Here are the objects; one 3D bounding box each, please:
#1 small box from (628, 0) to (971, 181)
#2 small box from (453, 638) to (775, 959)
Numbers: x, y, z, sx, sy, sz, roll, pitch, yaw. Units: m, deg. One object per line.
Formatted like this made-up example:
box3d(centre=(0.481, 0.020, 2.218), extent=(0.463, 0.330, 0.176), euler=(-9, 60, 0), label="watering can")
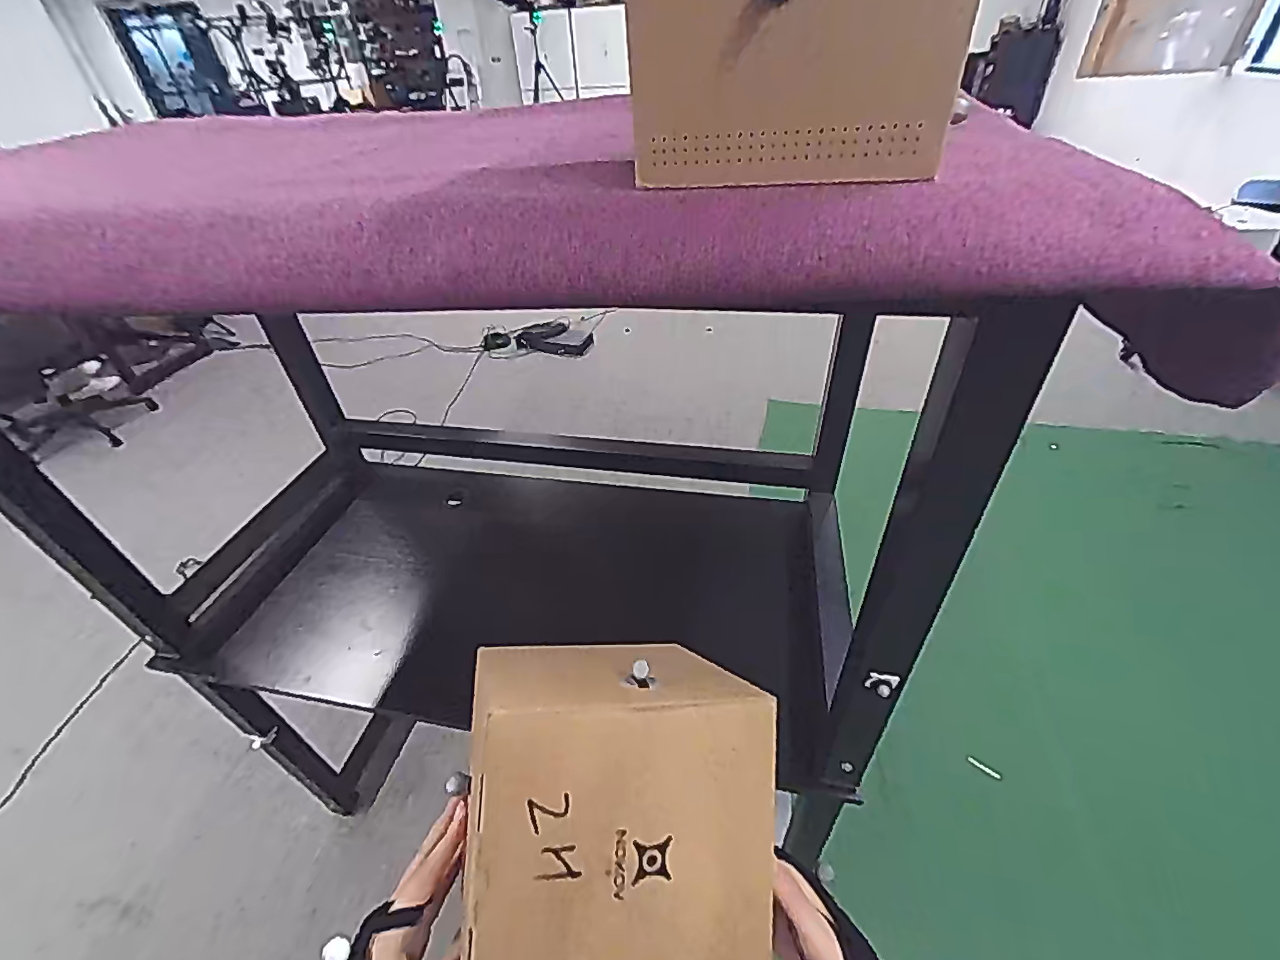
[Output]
box3d(centre=(0.096, -0.293, 0.328), extent=(0.179, 0.176, 0.168), euler=(5, 40, 13), label="small box")
box3d(centre=(-0.029, 0.207, 0.375), extent=(0.179, 0.168, 0.176), euler=(6, -8, -17), label="small box")
